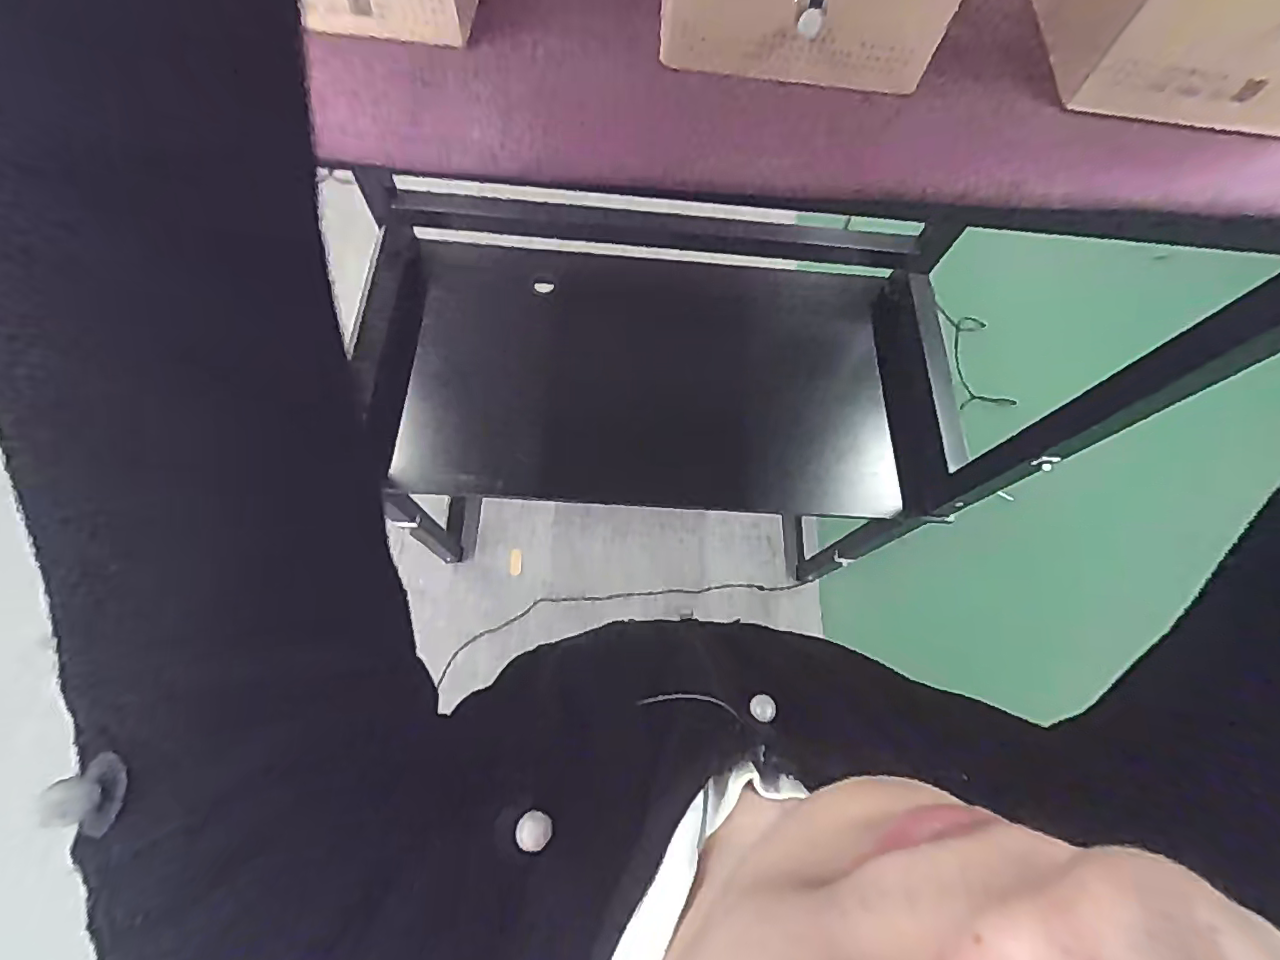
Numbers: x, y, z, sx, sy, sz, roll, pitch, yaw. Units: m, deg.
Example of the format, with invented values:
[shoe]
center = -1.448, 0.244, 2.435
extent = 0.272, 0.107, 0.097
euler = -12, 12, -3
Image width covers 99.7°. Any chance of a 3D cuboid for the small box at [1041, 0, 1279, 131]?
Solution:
[small box]
center = 0.388, -0.353, 0.331
extent = 0.168, 0.176, 0.179
euler = 8, 67, -1
